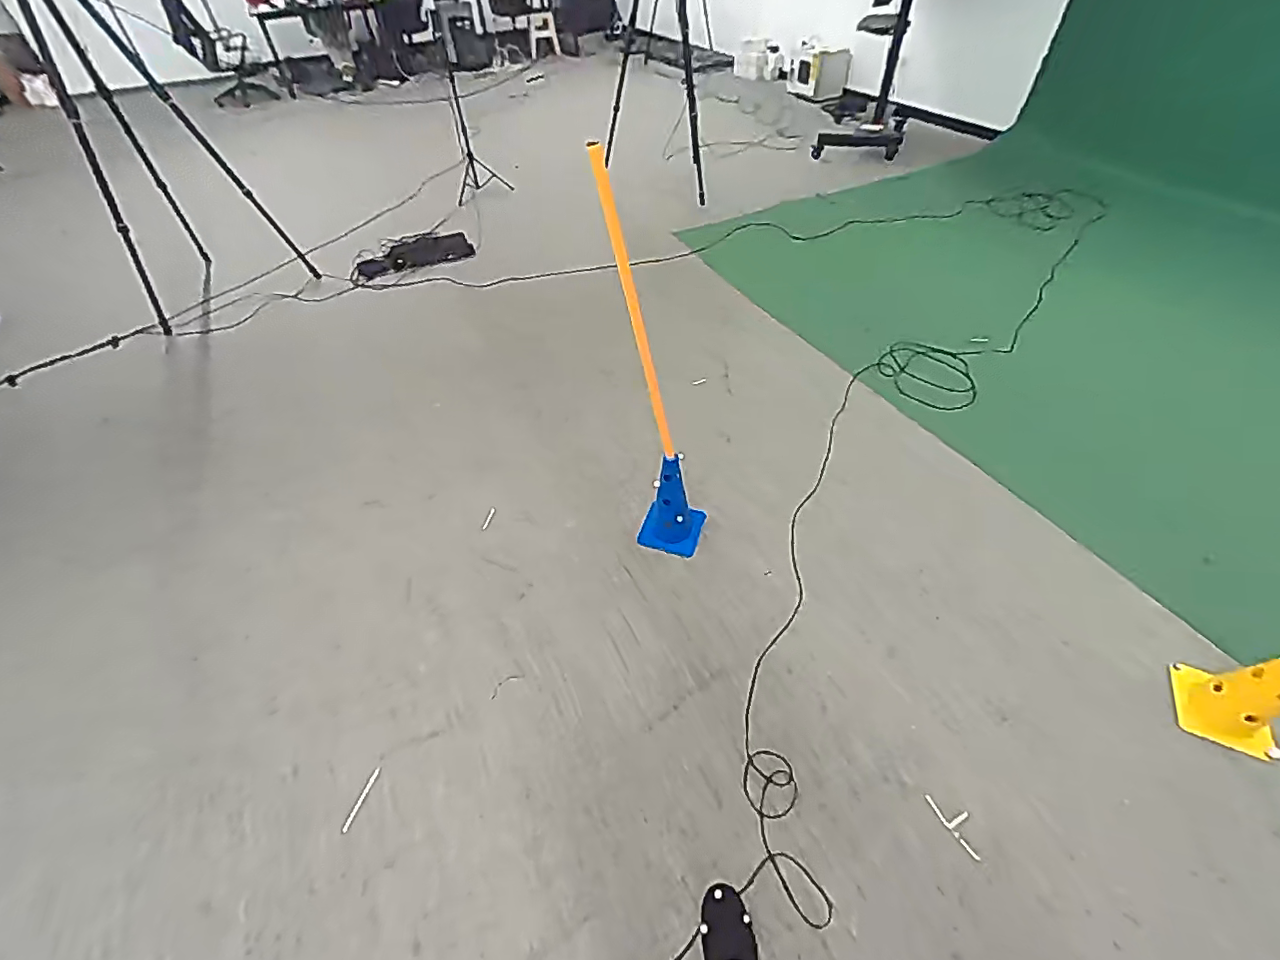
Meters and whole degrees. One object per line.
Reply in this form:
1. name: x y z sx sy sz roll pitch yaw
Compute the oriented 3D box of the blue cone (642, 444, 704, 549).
1. blue cone: 0.099 0.038 1.704 0.193 0.380 0.192 11 51 15
